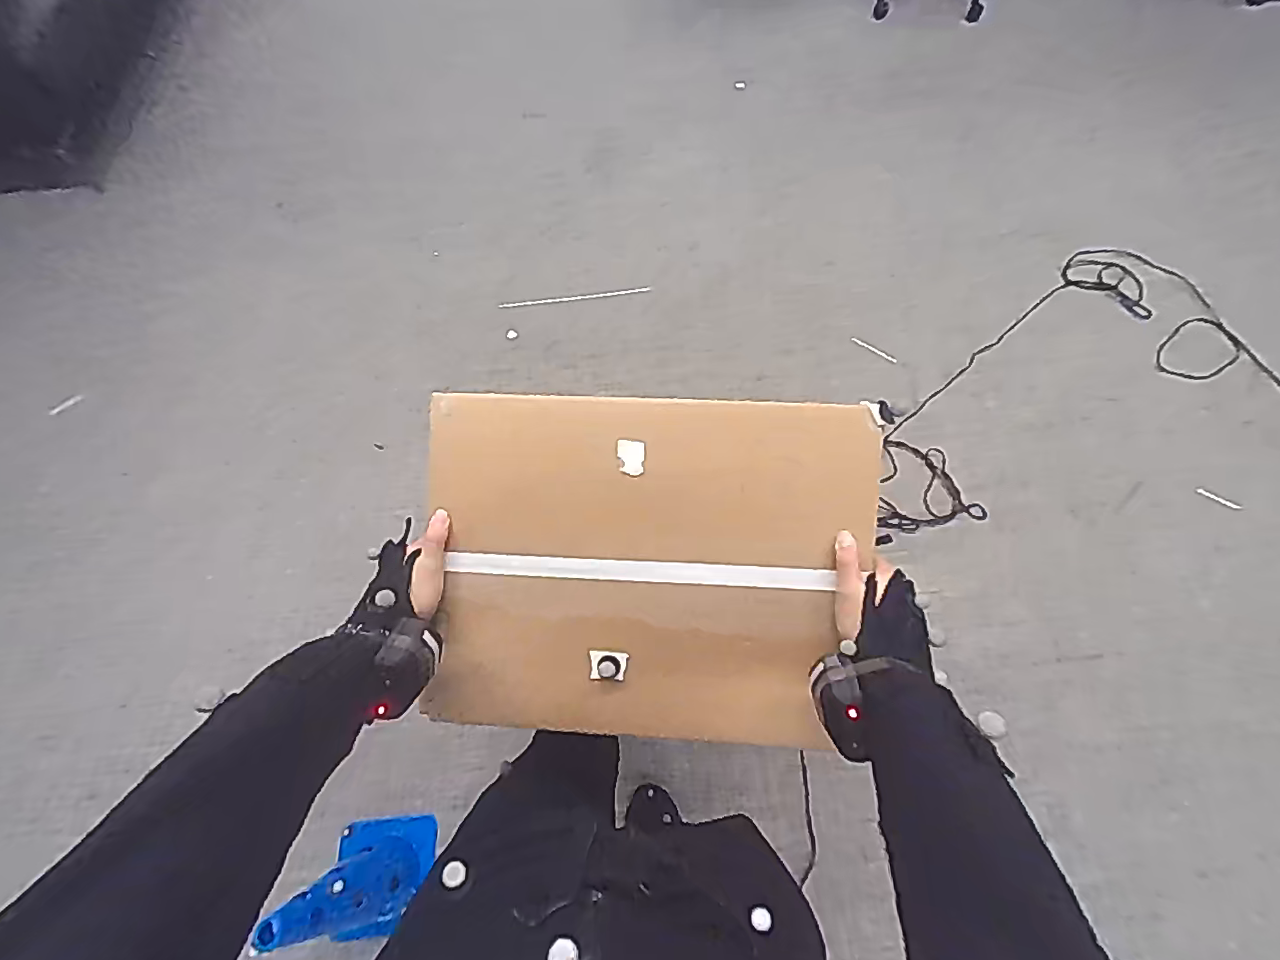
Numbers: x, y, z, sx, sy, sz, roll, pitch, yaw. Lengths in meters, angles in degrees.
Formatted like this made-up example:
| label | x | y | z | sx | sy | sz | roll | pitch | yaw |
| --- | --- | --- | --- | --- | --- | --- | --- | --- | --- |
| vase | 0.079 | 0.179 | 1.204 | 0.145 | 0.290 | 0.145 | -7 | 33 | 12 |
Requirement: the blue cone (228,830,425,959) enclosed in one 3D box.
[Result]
| label | x | y | z | sx | sy | sz | roll | pitch | yaw |
| --- | --- | --- | --- | --- | --- | --- | --- | --- | --- |
| blue cone | -0.532 | 0.728 | 0.915 | 0.192 | 0.380 | 0.193 | -5 | 63 | 2 |
